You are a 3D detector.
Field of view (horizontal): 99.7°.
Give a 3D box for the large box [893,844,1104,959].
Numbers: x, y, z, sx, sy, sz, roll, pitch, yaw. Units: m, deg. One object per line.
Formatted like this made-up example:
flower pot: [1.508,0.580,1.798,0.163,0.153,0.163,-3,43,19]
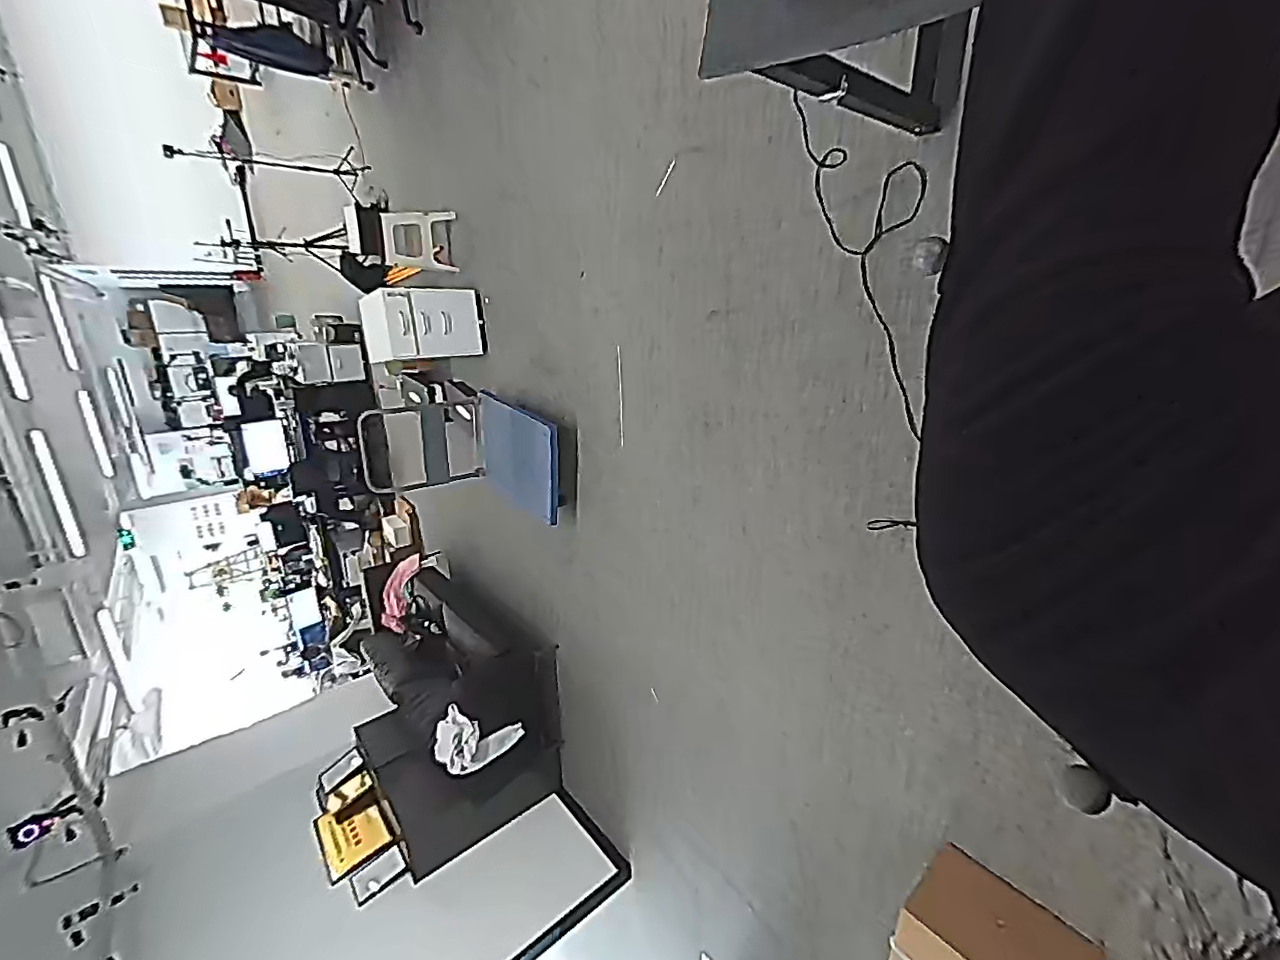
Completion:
large box: [0.982,1.355,1.515,0.408,0.320,0.320,20,117,45]
